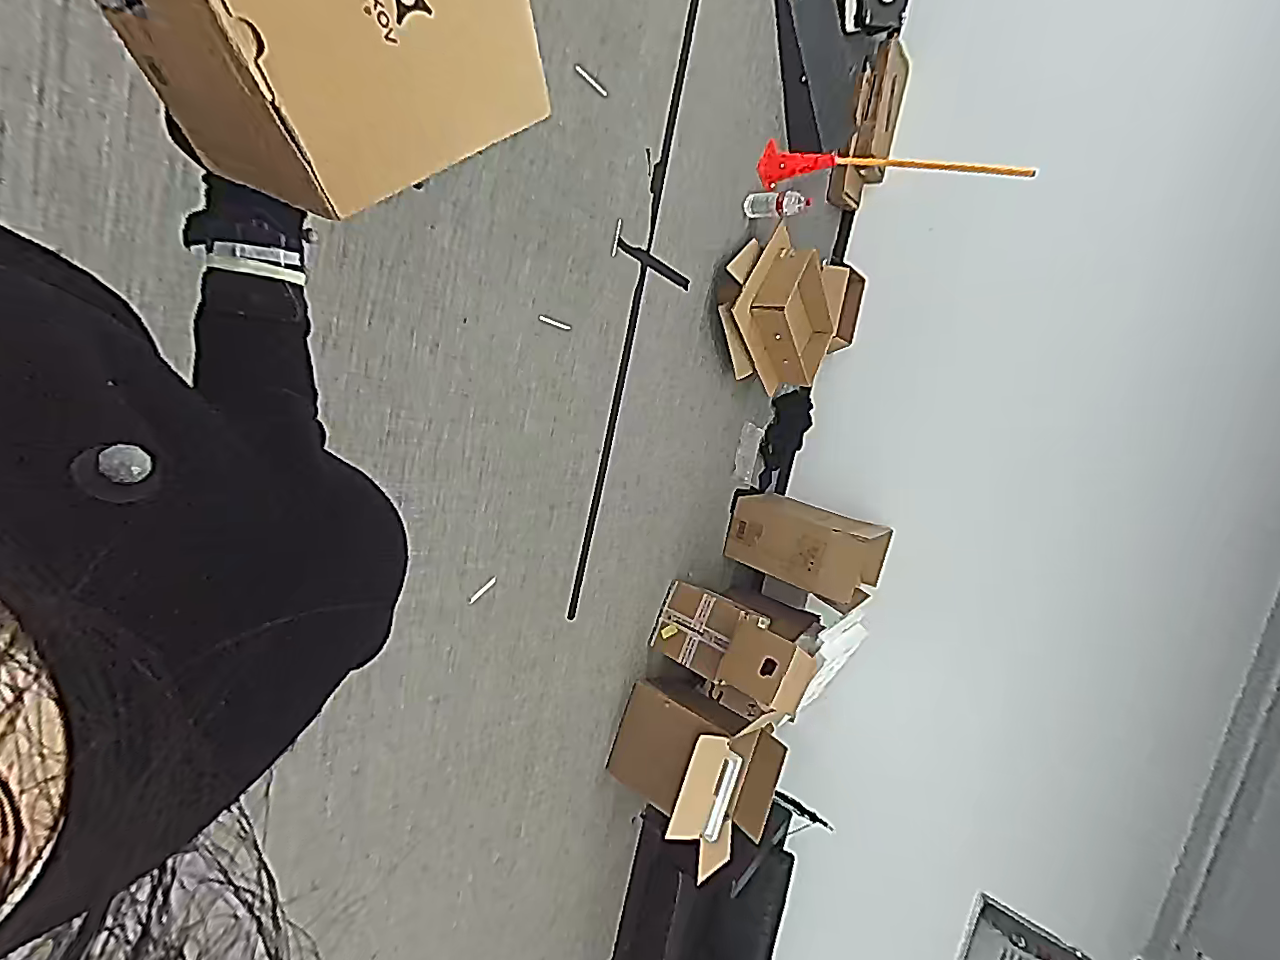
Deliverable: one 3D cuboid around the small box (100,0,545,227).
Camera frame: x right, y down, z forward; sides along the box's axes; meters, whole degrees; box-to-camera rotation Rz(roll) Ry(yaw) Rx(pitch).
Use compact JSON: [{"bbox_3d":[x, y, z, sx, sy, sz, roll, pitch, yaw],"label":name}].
[{"bbox_3d":[-0.190,-0.286,0.321,0.179,0.176,0.168,-47,151,-26],"label":"small box"}]
